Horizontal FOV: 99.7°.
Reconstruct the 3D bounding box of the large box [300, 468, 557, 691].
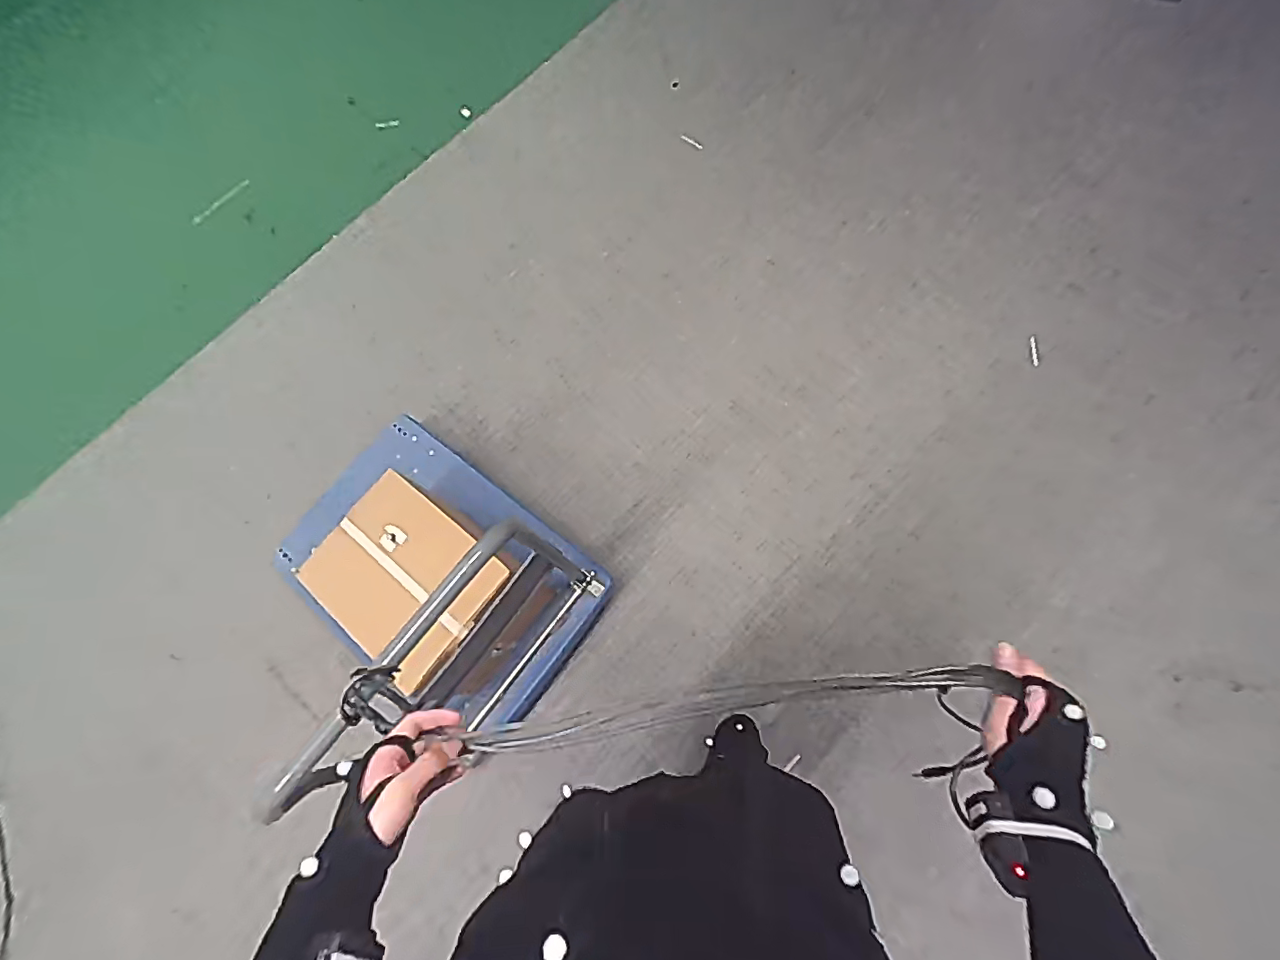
[{"bbox_3d":[-0.474,0.241,1.275,0.408,0.320,0.320,35,79,20],"label":"large box"}]
